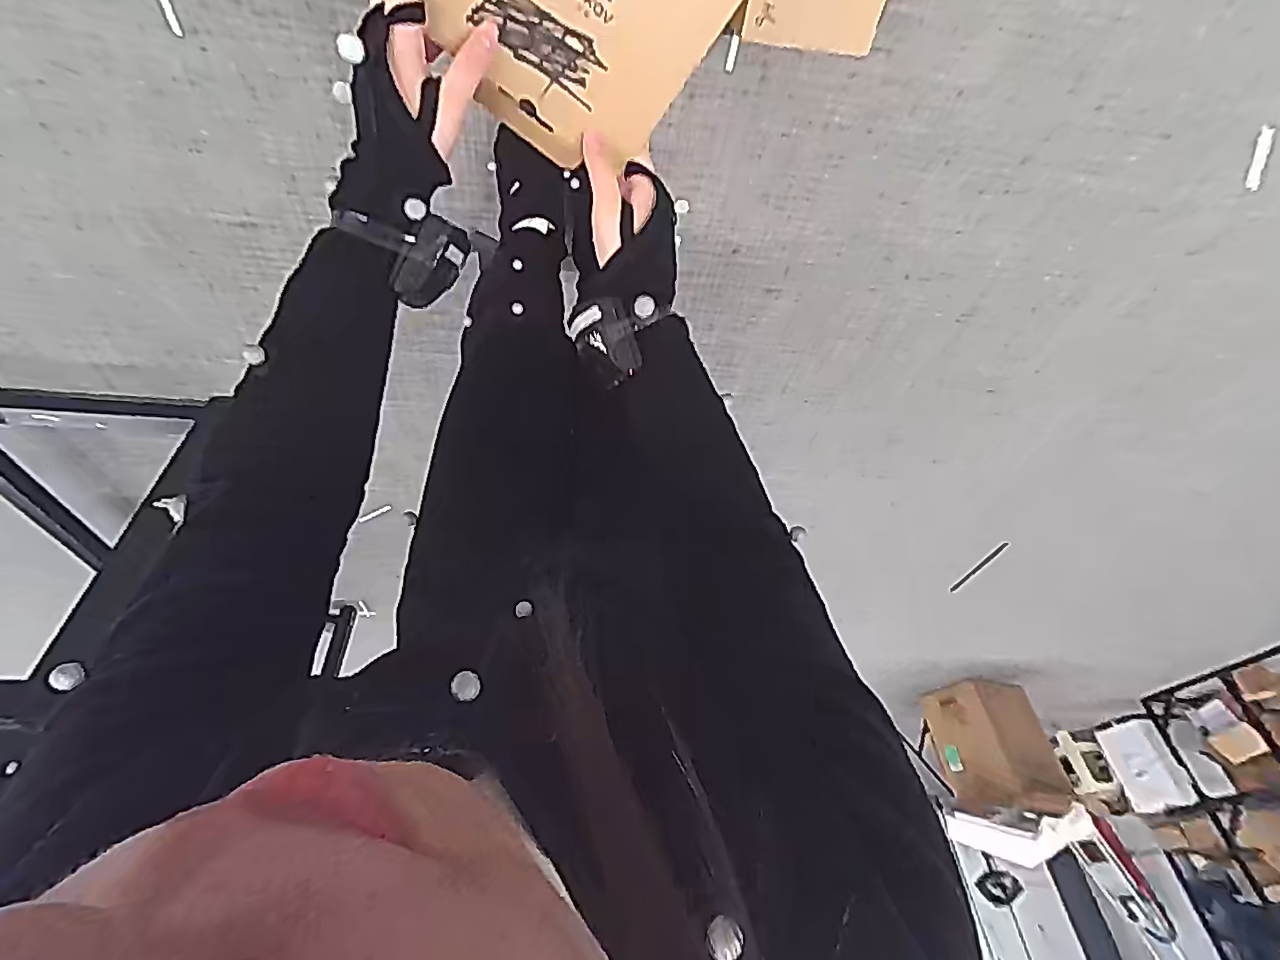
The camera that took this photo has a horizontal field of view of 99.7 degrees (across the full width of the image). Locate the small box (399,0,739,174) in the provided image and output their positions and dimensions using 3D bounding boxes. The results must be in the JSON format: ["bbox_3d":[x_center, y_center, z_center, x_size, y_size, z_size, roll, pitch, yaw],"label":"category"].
[{"bbox_3d":[-0.041,-0.364,0.366,0.168,0.176,0.179,20,131,-36],"label":"small box"}]

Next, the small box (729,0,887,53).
[{"bbox_3d":[0.214,-0.668,0.674,0.179,0.176,0.168,1,141,-8],"label":"small box"}]
